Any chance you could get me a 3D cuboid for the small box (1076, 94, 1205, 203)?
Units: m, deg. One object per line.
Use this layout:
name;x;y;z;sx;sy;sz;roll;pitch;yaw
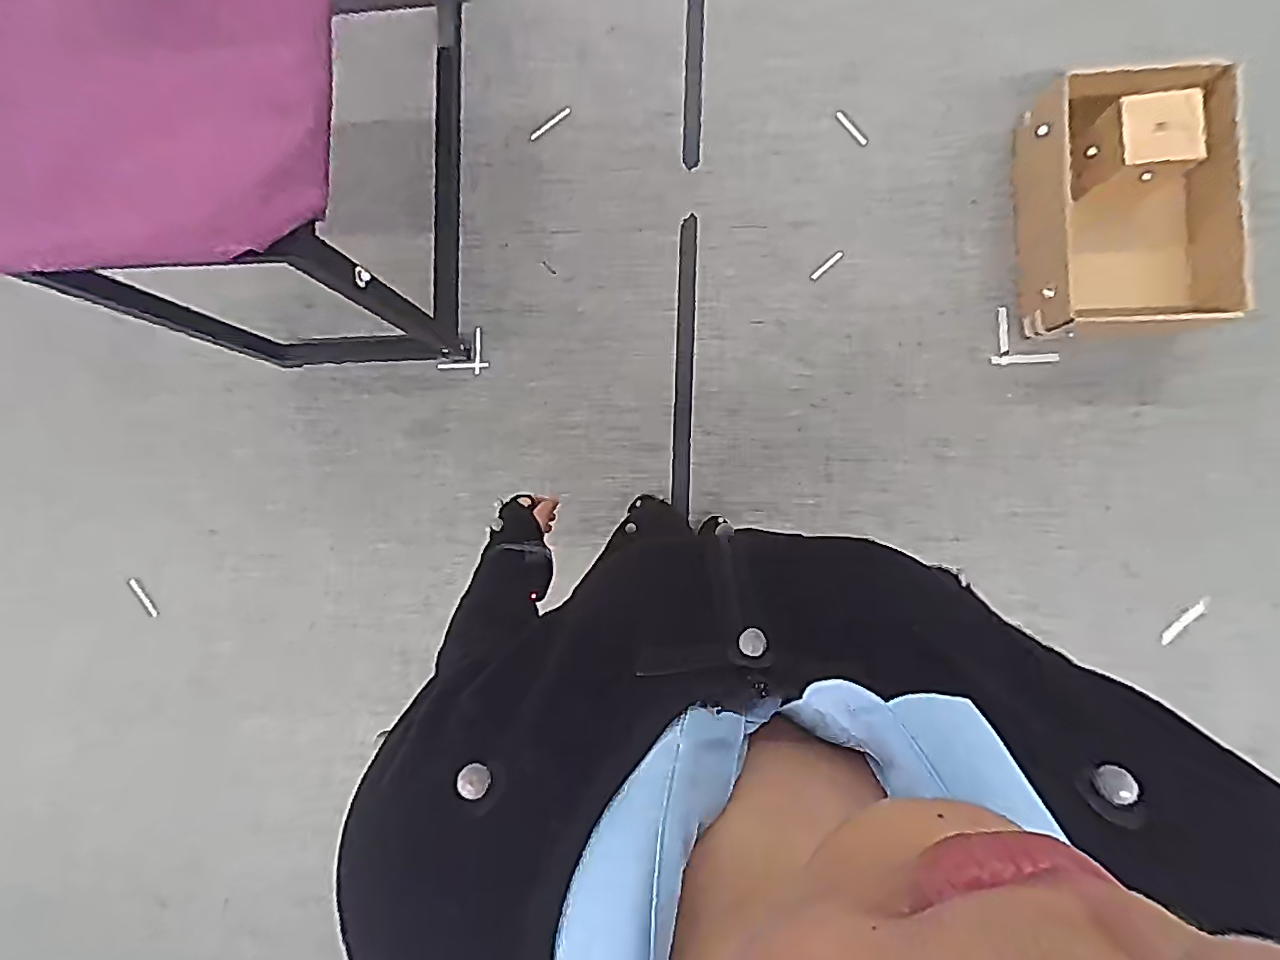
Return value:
small box;1.217;-0.806;1.332;0.179;0.176;0.168;-2;89;5
